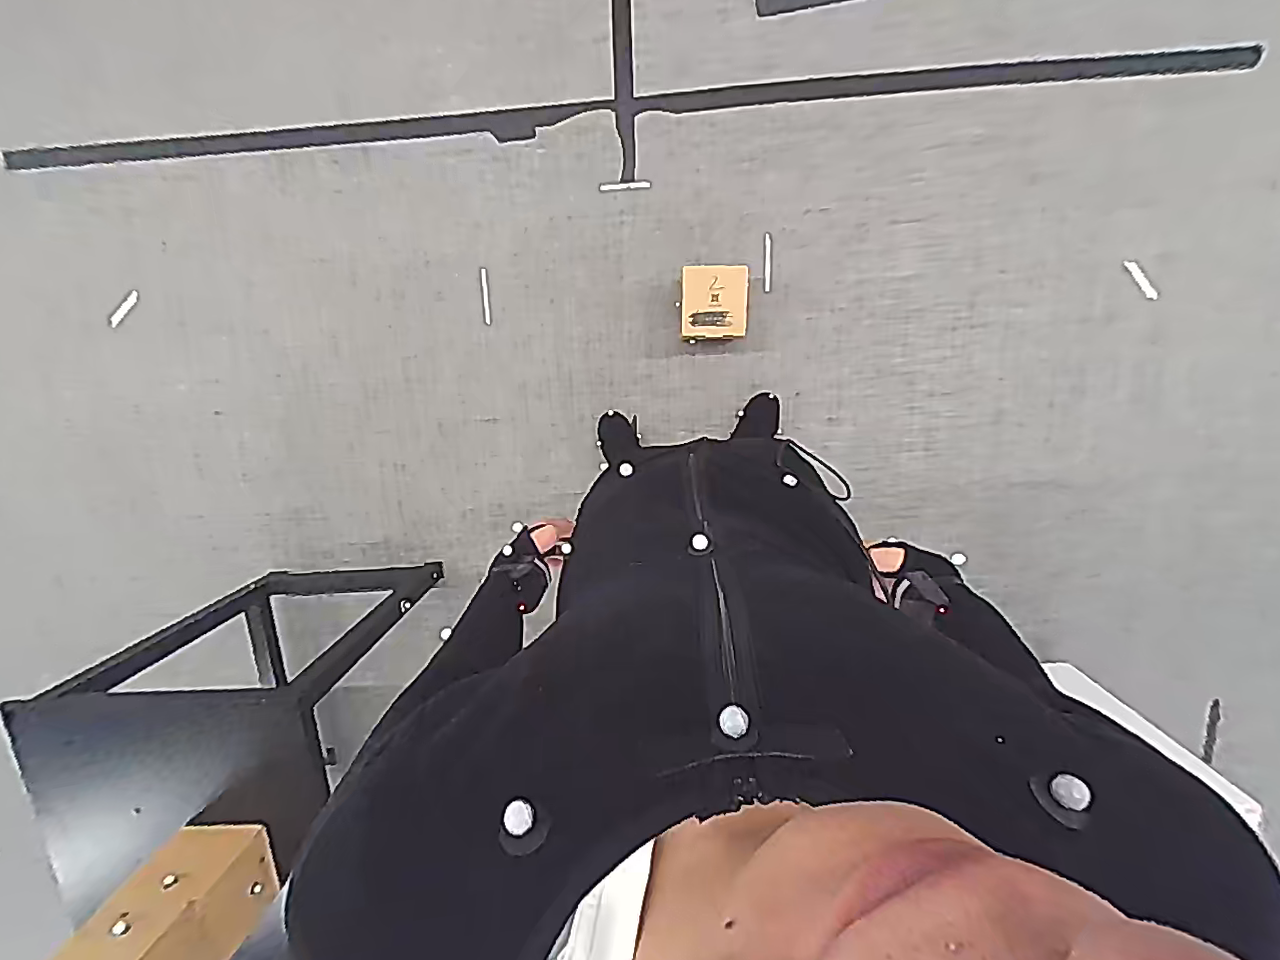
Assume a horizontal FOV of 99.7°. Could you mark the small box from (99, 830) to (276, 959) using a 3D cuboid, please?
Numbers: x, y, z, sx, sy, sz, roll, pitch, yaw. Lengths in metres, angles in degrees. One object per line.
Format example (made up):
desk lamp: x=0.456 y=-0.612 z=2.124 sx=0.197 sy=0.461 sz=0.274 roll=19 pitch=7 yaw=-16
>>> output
small box: x=-0.833 y=0.790 z=1.013 sx=0.179 sy=0.176 sz=0.168 roll=-3 pitch=102 yaw=3

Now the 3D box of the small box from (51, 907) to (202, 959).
small box: x=-0.833 y=0.824 z=0.852 sx=0.168 sy=0.176 sz=0.179 roll=-6 pitch=101 yaw=3
